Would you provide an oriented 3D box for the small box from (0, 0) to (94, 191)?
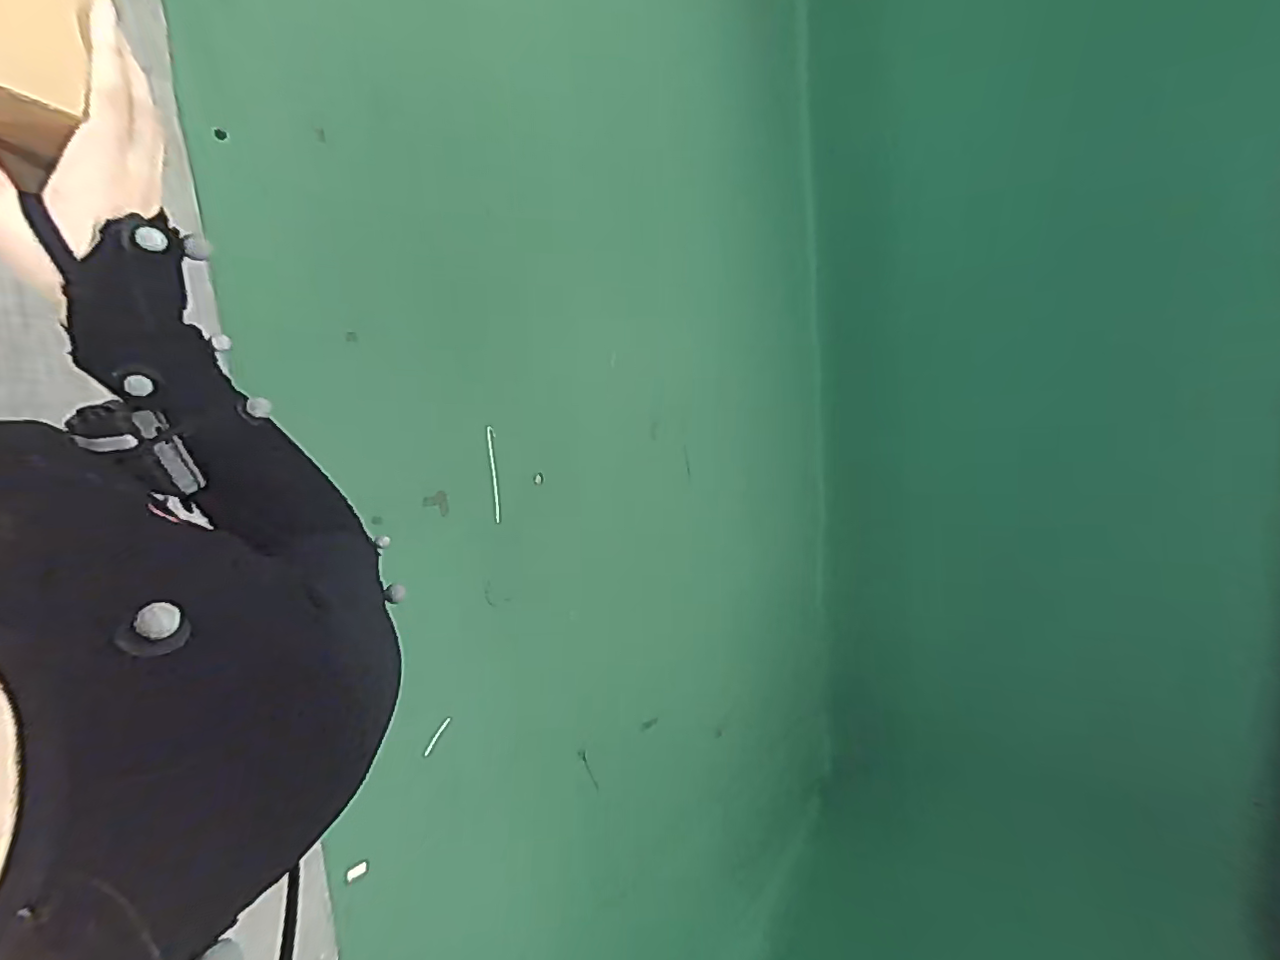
[{"bbox_3d":[-0.375,-0.277,0.253,0.168,0.176,0.179,7,87,-49],"label":"small box"}]
